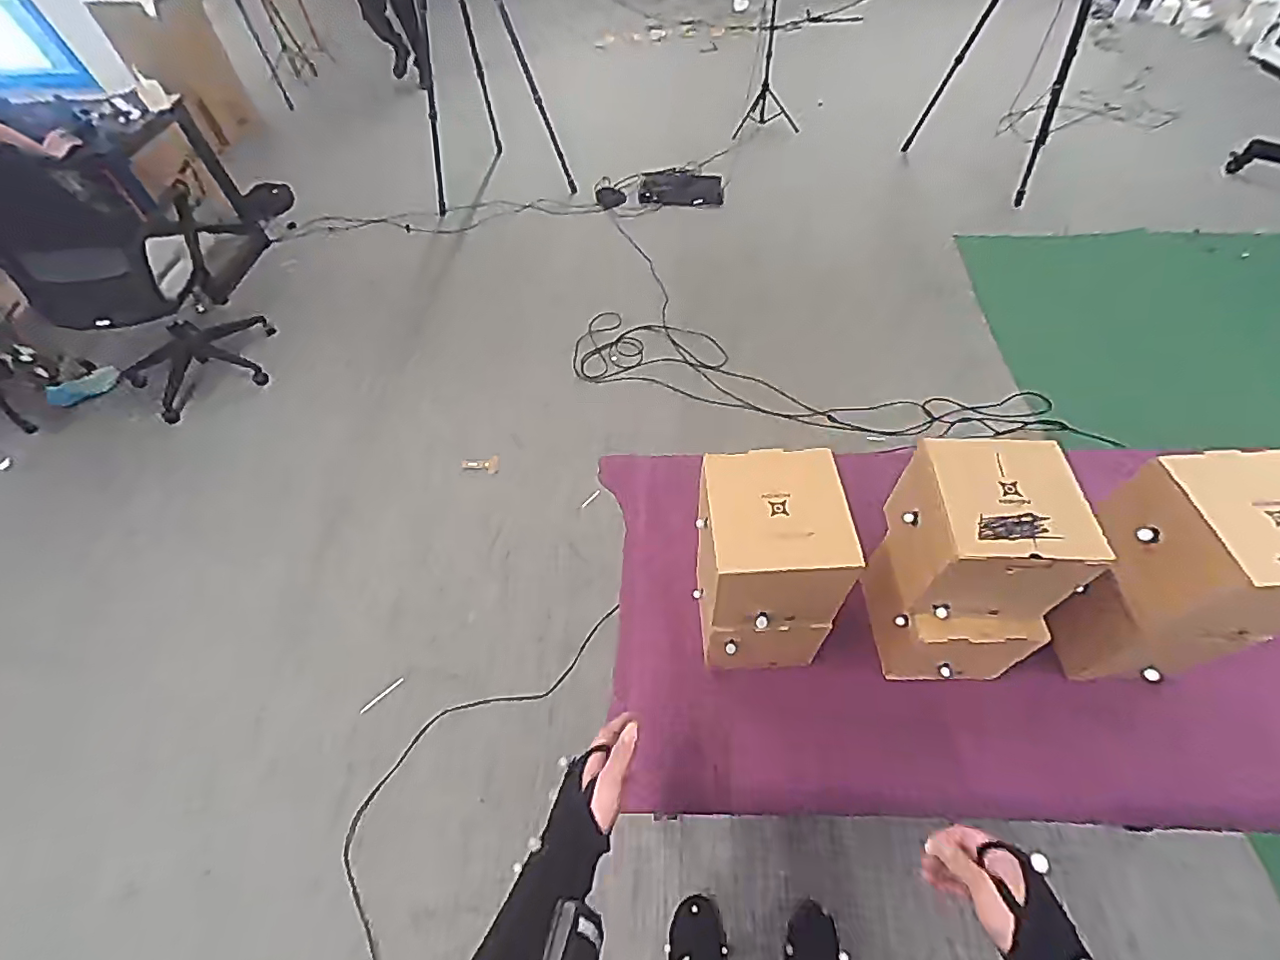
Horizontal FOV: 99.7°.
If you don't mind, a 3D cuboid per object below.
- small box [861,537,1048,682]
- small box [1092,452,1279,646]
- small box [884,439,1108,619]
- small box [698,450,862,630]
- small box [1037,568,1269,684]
[{"bbox_3d":[0.452,0.190,0.816,0.168,0.176,0.179,-2,54,2],"label":"small box"},{"bbox_3d":[0.709,0.087,0.668,0.168,0.176,0.179,-4,52,2],"label":"small box"},{"bbox_3d":[0.438,0.067,0.703,0.168,0.176,0.179,2,53,5],"label":"small box"},{"bbox_3d":[0.165,0.081,0.708,0.168,0.176,0.179,-3,53,2],"label":"small box"},{"bbox_3d":[0.717,0.186,0.799,0.168,0.176,0.179,-3,53,2],"label":"small box"}]
